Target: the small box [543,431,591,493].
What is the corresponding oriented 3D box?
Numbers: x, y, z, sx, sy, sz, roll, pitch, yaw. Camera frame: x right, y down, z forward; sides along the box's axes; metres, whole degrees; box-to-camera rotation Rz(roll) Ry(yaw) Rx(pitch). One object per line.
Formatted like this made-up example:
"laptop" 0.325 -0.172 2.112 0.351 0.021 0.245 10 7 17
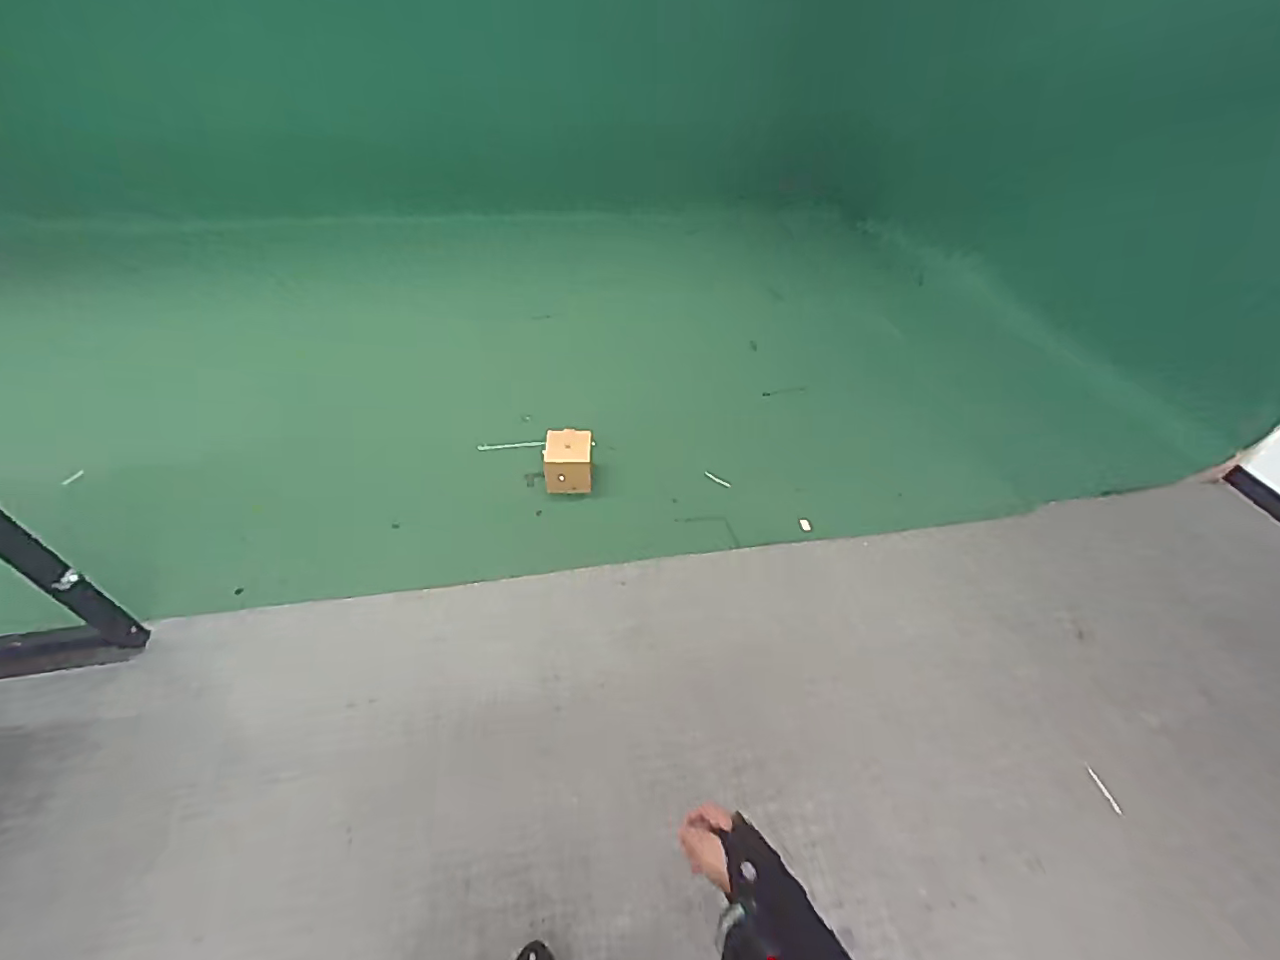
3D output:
"small box" -0.269 -0.064 2.036 0.168 0.176 0.179 0 45 -4
